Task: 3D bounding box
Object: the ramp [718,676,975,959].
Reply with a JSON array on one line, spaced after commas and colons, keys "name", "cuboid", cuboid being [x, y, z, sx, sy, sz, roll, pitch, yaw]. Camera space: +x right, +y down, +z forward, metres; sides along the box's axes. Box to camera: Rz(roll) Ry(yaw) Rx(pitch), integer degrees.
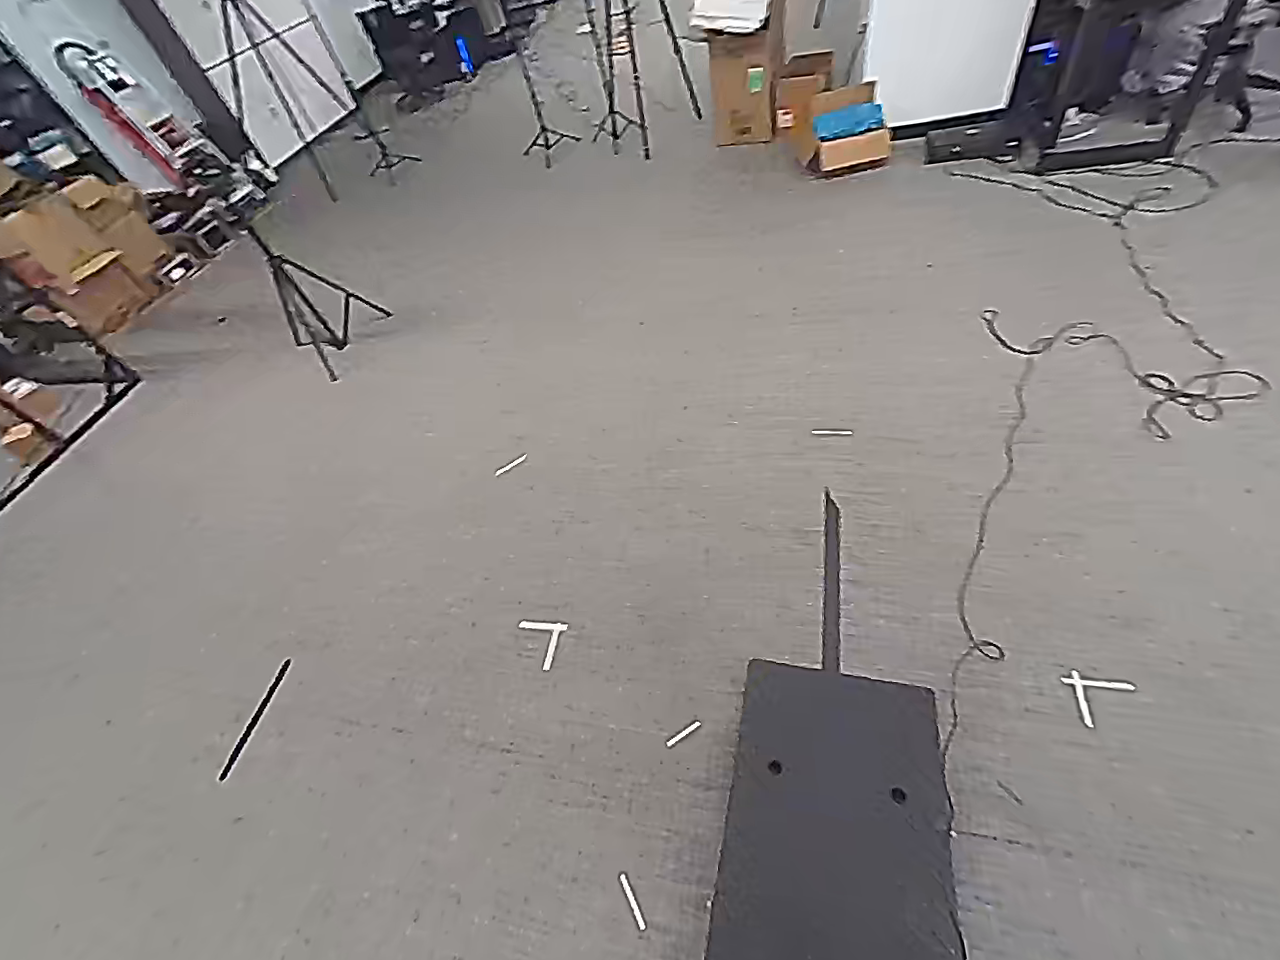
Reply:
[{"name": "ramp", "cuboid": [0.433, 0.905, 1.165, 0.509, 0.206, 0.991, 0, 50, 18]}]
